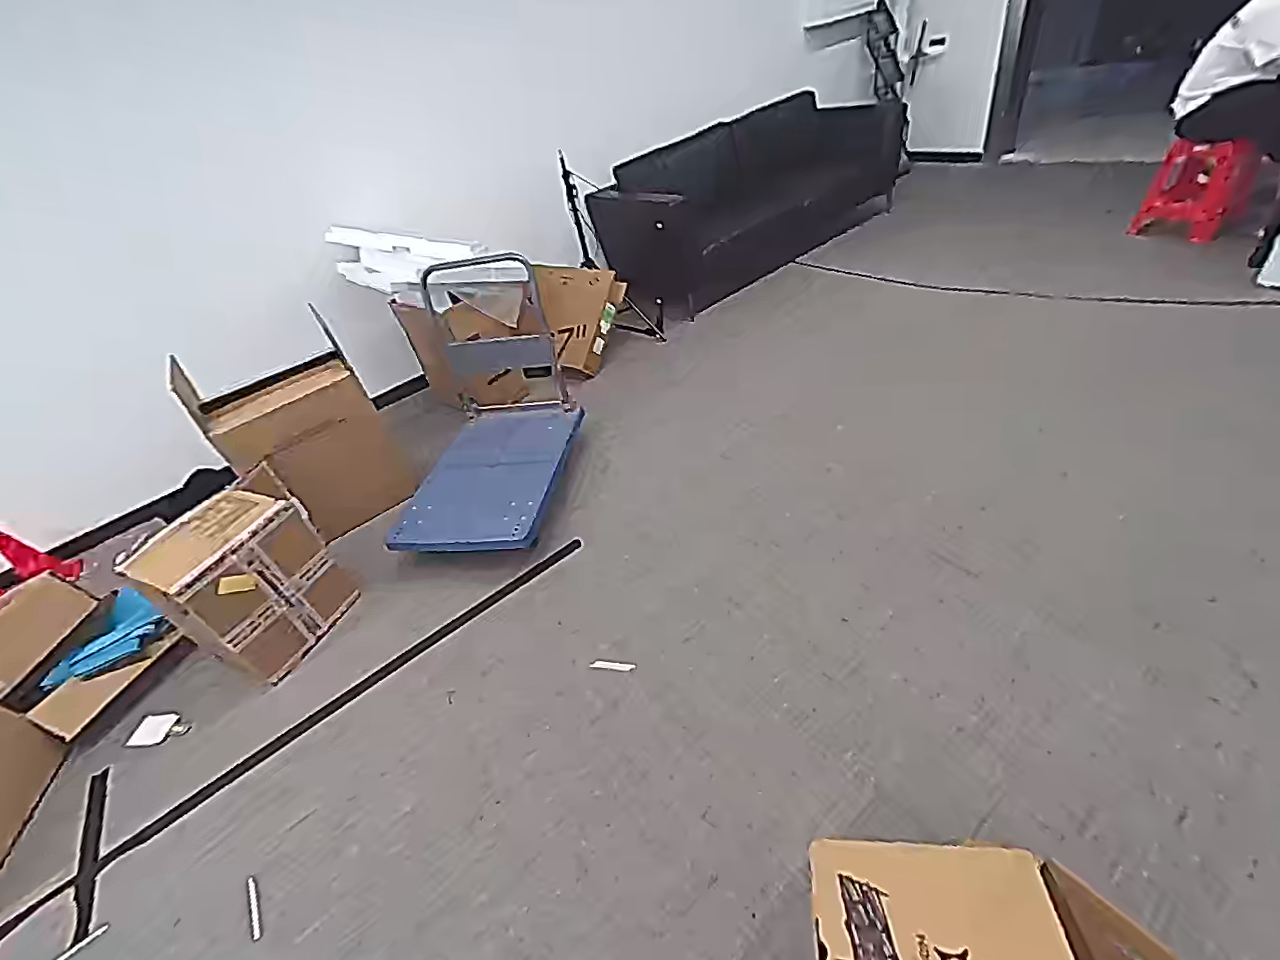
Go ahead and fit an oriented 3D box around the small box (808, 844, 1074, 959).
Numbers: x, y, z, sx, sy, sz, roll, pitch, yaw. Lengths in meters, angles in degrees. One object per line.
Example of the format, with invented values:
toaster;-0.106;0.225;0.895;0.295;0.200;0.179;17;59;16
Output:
small box;0.237;0.419;0.420;0.179;0.176;0.168;-9;27;17
